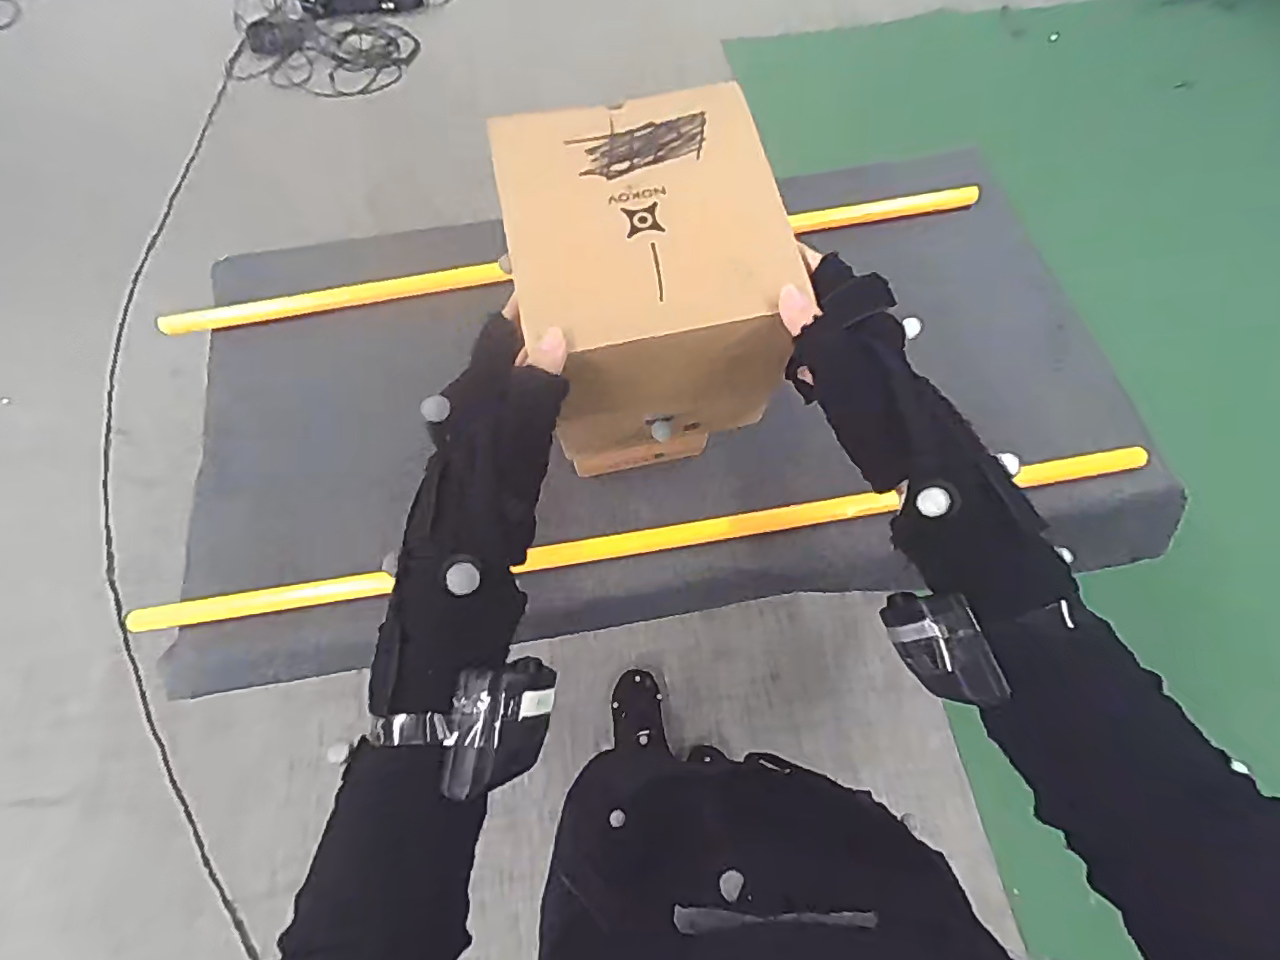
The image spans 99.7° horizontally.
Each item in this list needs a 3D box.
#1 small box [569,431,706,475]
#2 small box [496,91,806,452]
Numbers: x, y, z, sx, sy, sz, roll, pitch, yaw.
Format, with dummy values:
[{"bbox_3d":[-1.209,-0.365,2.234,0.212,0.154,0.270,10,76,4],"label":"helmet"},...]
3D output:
[{"bbox_3d":[-0.016,-0.127,0.652,0.168,0.176,0.179,-12,68,-3],"label":"small box"},{"bbox_3d":[0.001,-0.140,0.407,0.168,0.176,0.179,-11,74,-2],"label":"small box"}]
